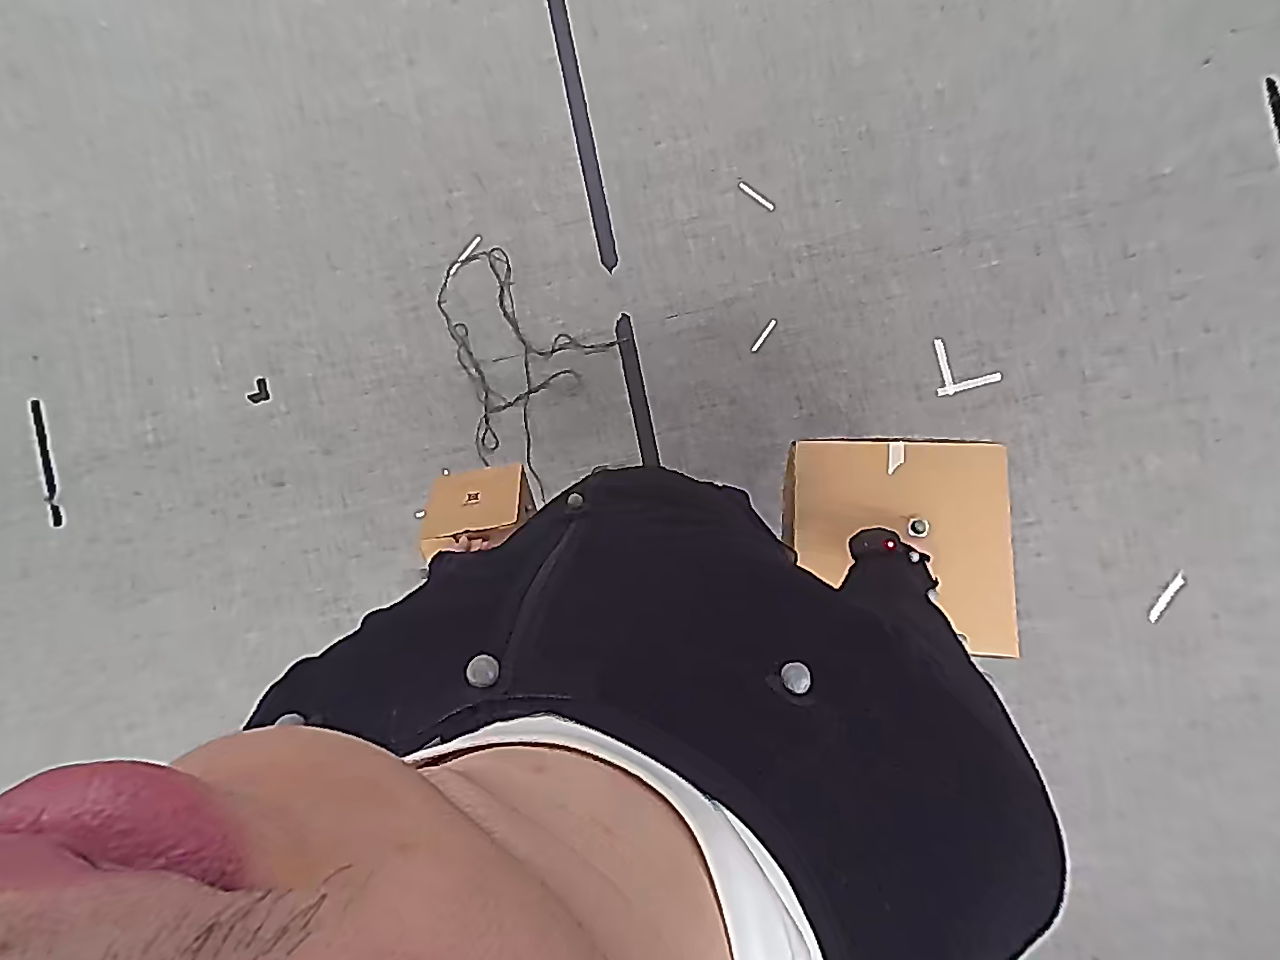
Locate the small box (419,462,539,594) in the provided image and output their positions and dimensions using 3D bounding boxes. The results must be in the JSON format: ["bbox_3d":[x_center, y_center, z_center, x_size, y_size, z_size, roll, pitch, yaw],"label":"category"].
[{"bbox_3d":[-0.286,0.094,1.003,0.168,0.179,0.176,-9,129,-2],"label":"small box"}]
